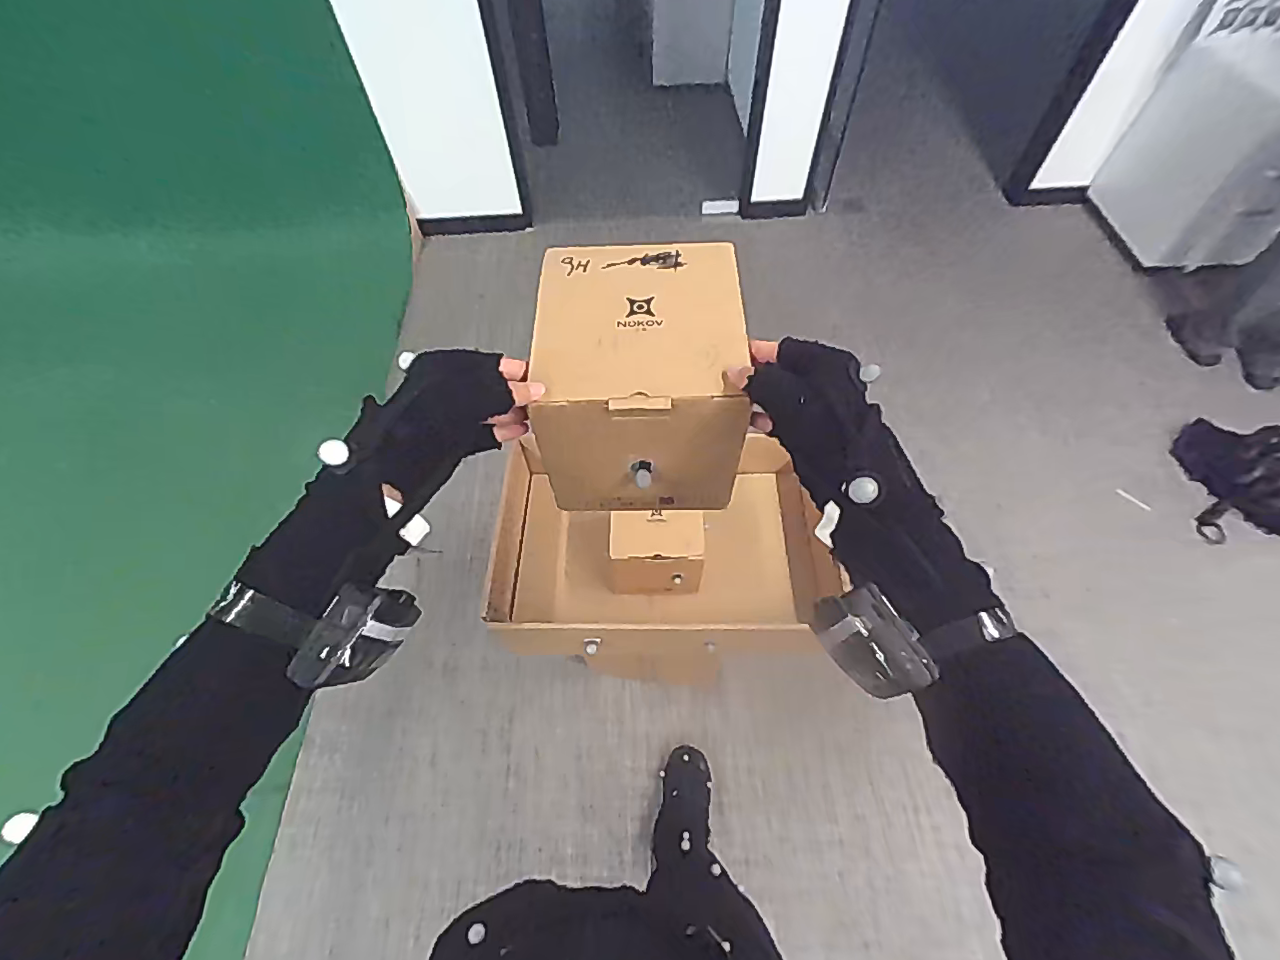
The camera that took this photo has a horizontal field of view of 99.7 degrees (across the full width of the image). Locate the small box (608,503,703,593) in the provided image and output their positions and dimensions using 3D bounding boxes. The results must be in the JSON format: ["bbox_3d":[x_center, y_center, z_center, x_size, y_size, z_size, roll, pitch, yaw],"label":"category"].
[{"bbox_3d":[0.028,0.108,1.031,0.168,0.176,0.179,0,56,-1],"label":"small box"}]

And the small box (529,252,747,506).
[{"bbox_3d":[0.002,-0.084,0.506,0.168,0.176,0.179,-1,60,1],"label":"small box"}]
